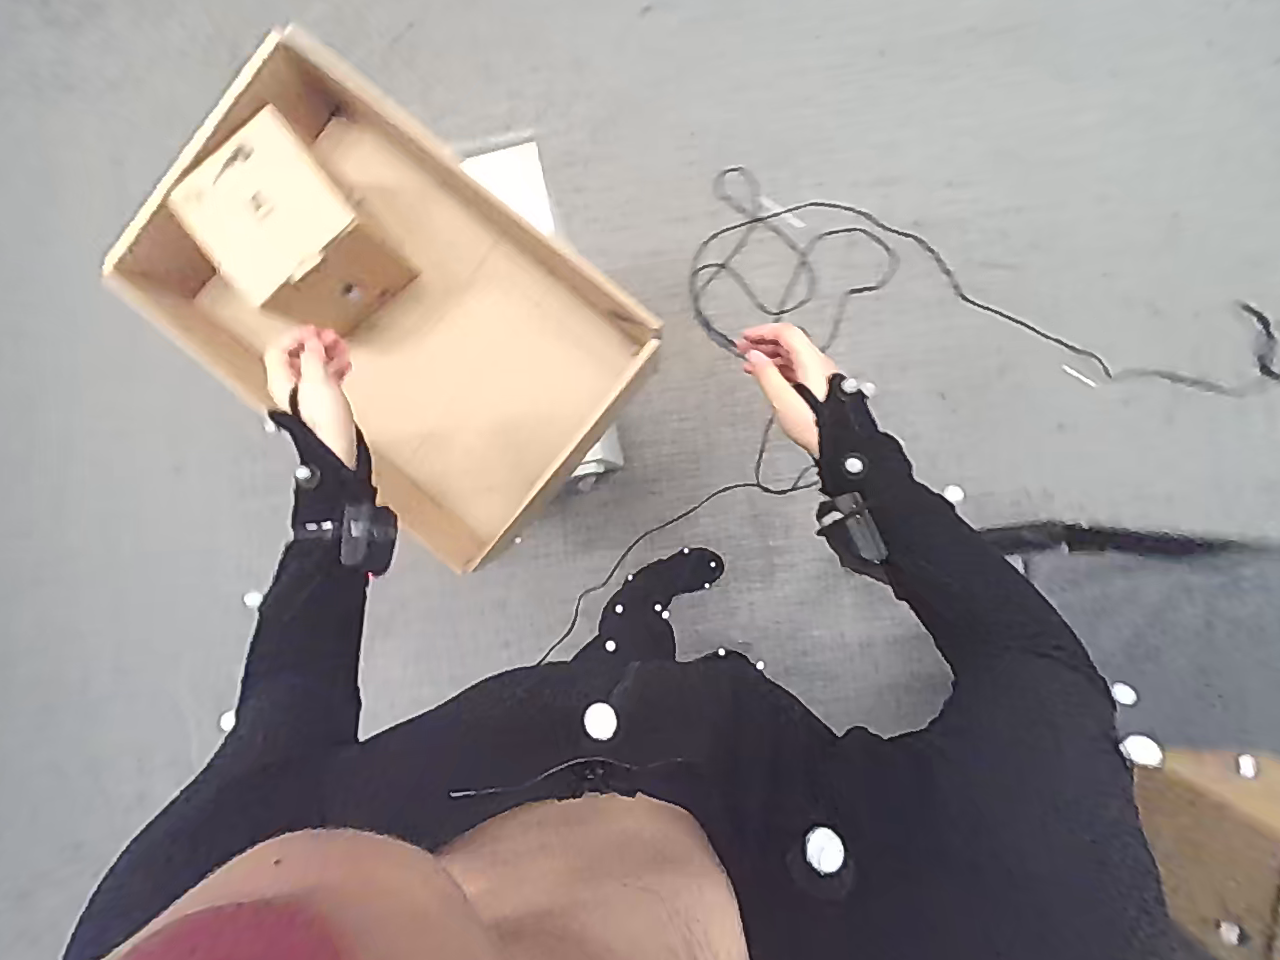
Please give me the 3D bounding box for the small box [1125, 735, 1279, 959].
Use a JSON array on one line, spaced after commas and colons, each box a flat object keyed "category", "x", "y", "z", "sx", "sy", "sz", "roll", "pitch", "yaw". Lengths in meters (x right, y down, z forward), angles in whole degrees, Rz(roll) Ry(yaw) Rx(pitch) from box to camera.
[{"category": "small box", "x": 0.696, "y": 0.415, "z": 0.606, "sx": 0.168, "sy": 0.176, "sz": 0.179, "roll": 1, "pitch": 90, "yaw": 0}]
